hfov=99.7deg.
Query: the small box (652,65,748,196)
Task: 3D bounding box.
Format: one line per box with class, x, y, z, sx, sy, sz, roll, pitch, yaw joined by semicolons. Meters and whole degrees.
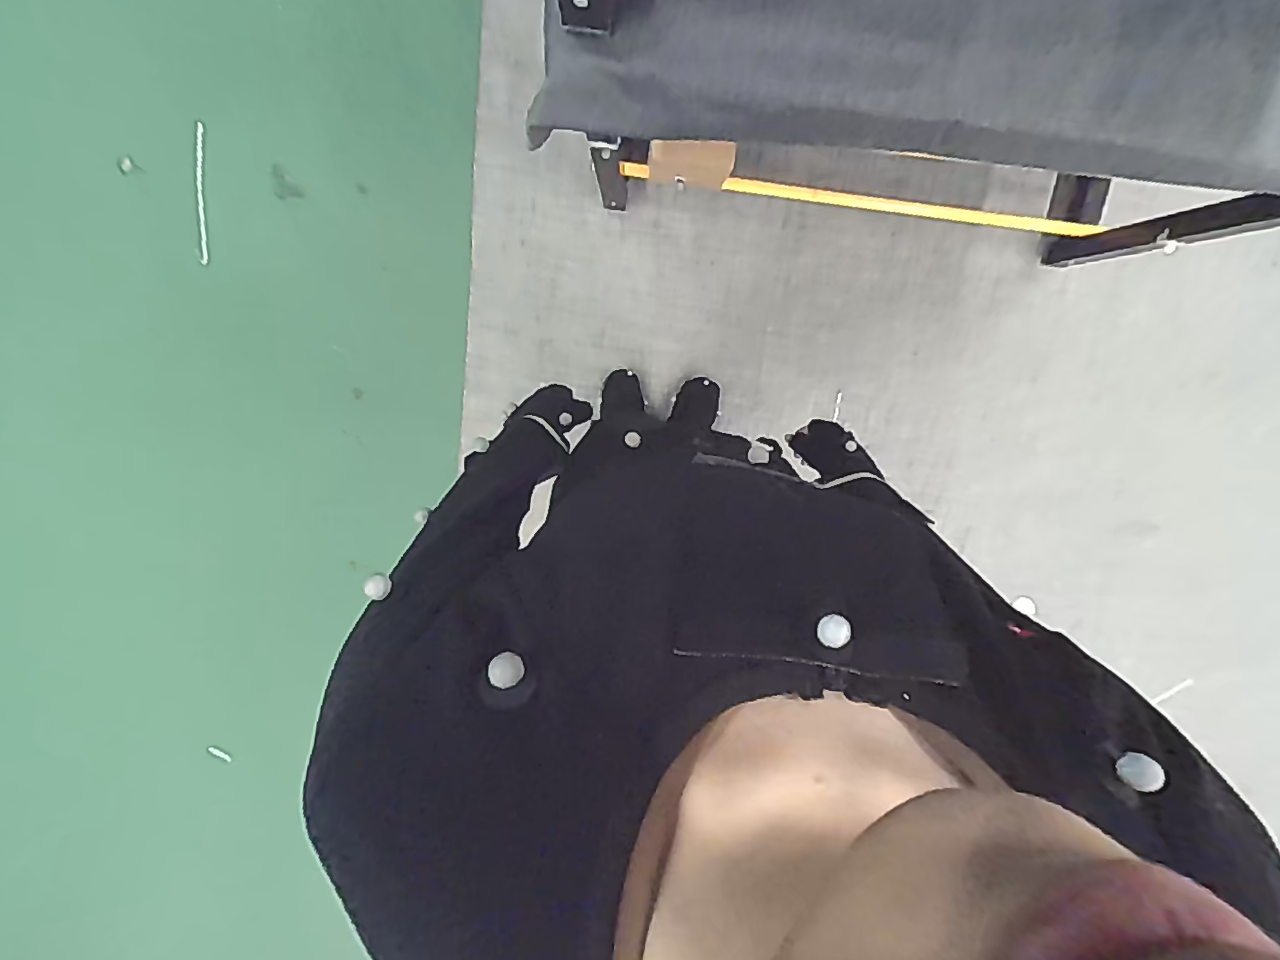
small box;0.116;-0.719;1.131;0.168;0.176;0.179;5;105;-2
